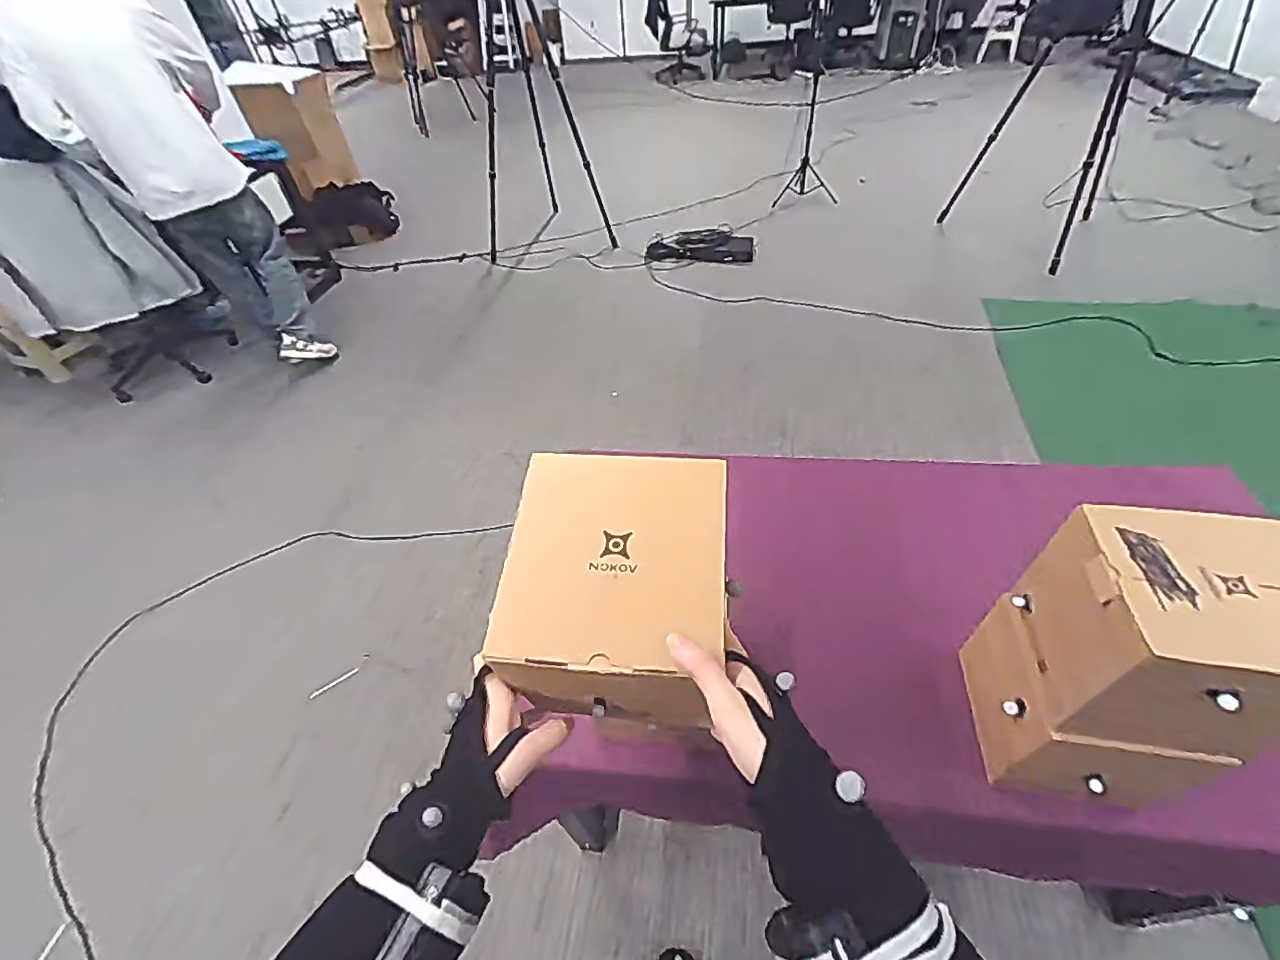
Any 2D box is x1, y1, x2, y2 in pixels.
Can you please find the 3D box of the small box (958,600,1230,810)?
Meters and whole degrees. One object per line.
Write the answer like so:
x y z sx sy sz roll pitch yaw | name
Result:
0.512 0.271 0.649 0.168 0.176 0.179 5 47 10 | small box

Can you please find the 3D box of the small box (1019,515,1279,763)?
0.510 0.156 0.531 0.179 0.176 0.168 6 47 10 | small box
